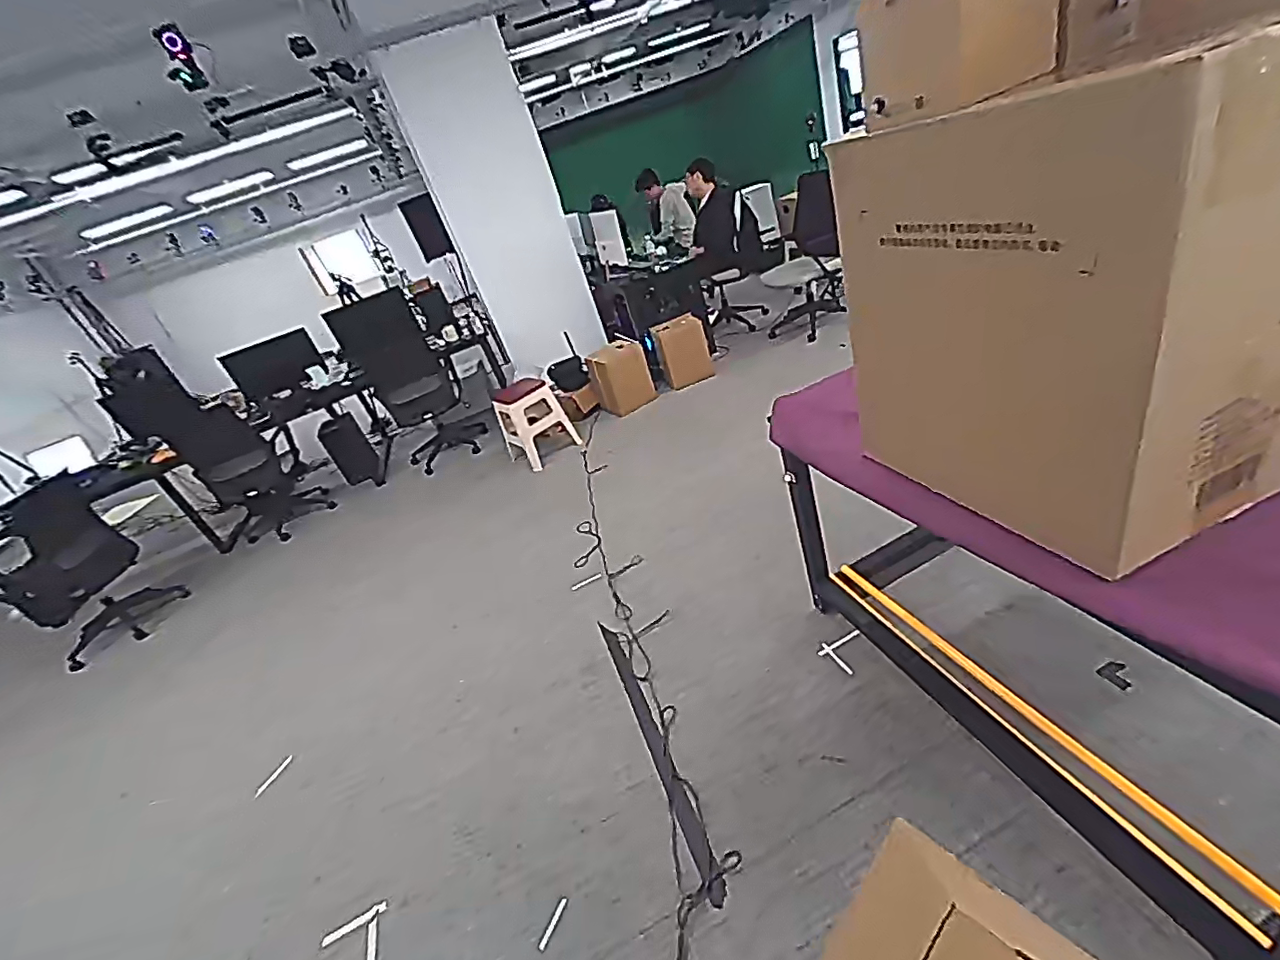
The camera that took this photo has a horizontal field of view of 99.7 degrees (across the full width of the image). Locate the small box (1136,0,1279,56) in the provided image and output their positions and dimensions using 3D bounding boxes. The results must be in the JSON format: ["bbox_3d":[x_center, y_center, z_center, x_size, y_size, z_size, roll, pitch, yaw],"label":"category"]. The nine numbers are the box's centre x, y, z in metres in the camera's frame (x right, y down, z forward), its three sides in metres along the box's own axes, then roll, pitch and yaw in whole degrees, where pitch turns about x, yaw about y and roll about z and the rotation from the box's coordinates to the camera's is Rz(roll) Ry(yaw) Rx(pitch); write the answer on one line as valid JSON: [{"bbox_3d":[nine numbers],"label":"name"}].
[{"bbox_3d":[0.679,-0.592,0.569,0.168,0.176,0.179,-27,28,-13],"label":"small box"}]
